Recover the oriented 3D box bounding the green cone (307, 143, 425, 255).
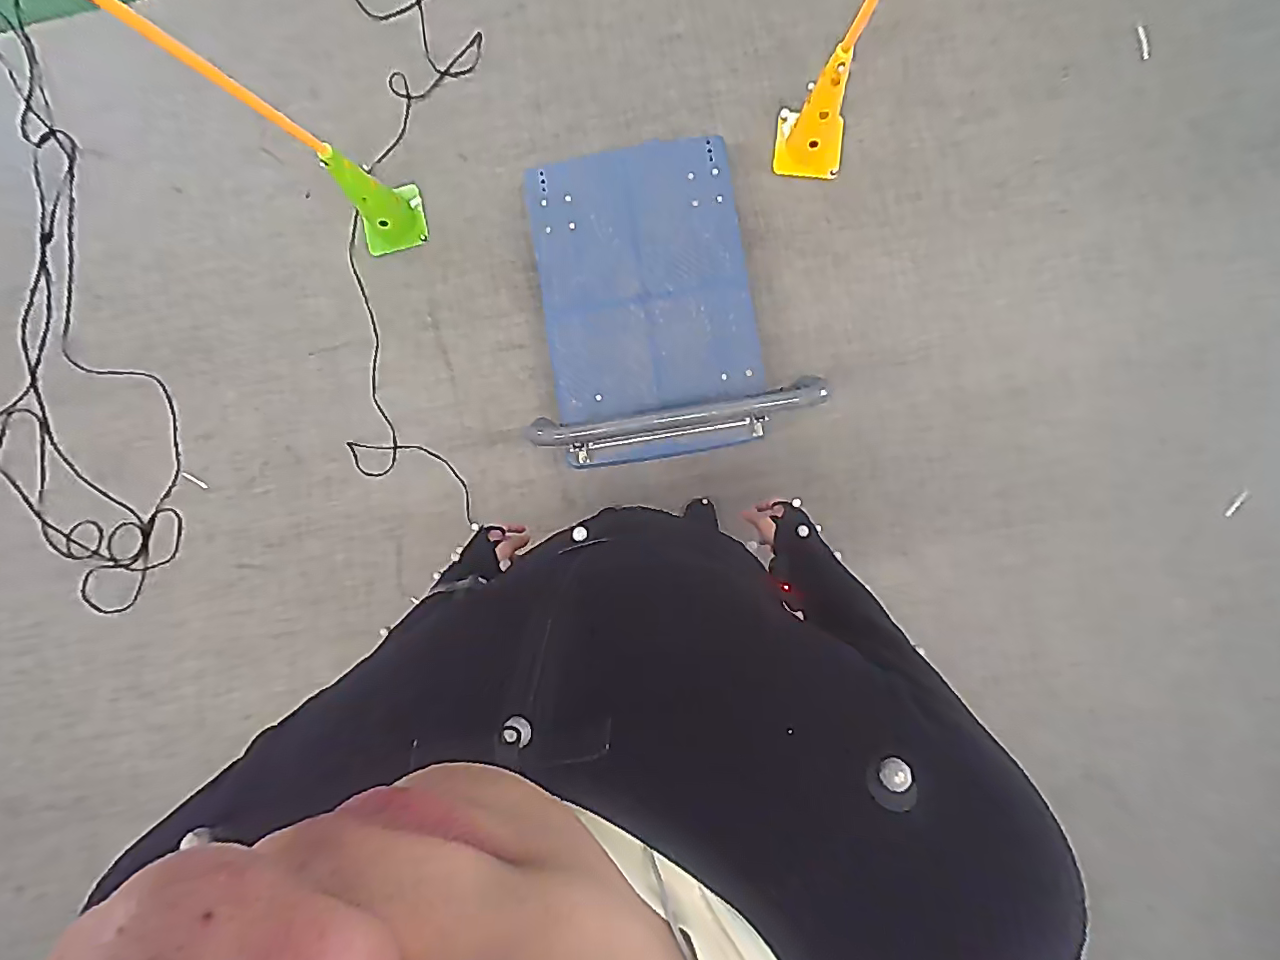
[{"bbox_3d":[-0.812,-0.842,1.557,0.202,0.368,0.200,-14,87,4],"label":"green cone"}]
